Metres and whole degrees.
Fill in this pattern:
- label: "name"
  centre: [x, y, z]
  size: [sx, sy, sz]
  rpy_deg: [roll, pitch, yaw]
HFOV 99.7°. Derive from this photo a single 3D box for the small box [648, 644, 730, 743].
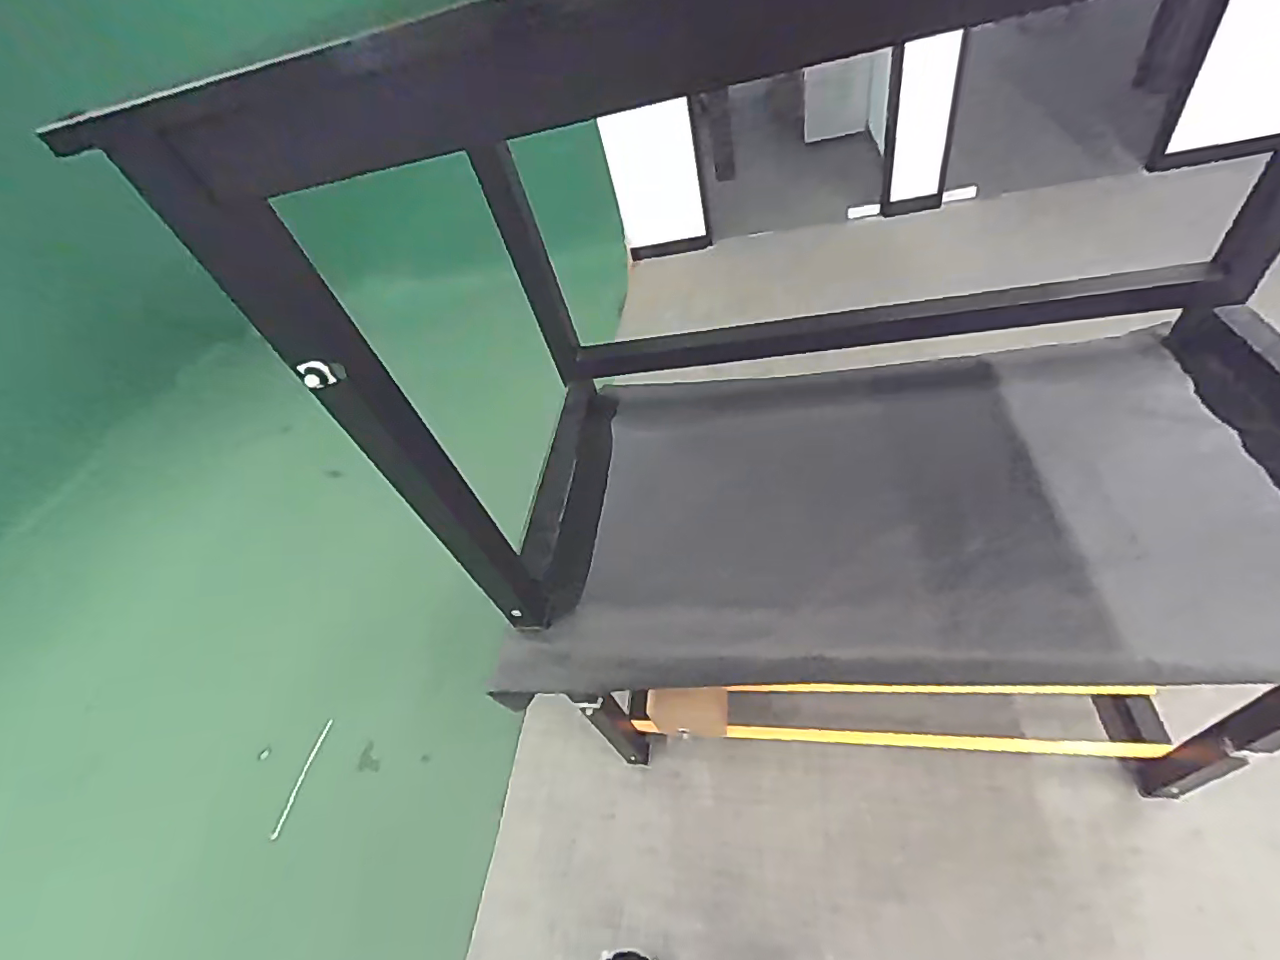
- label: "small box"
  centre: [0.124, 0.513, 1.299]
  size: [0.168, 0.176, 0.179]
  rpy_deg: [-4, 49, 14]
